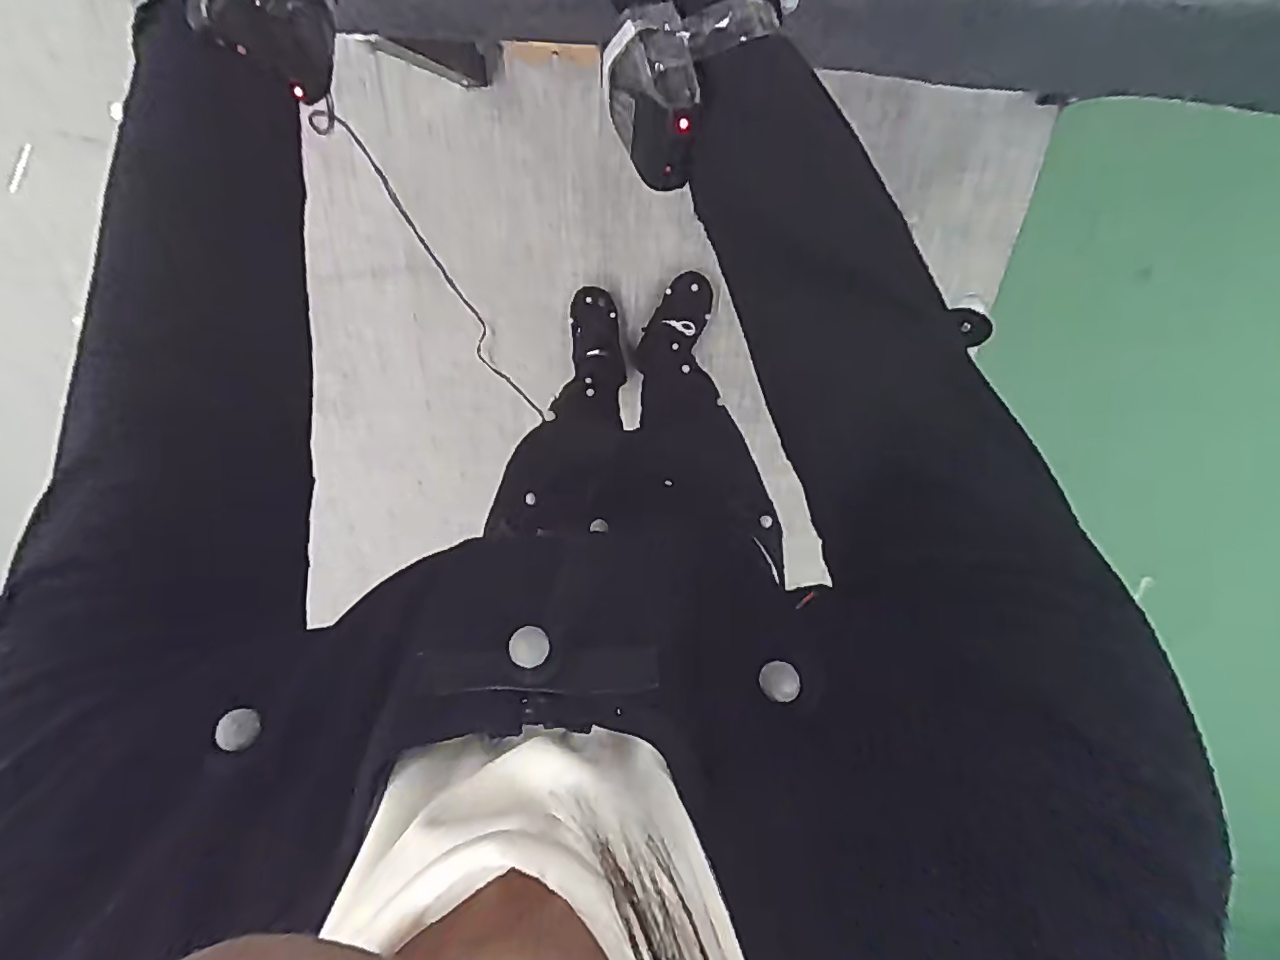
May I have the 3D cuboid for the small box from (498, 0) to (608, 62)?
[{"bbox_3d":[-0.148,-0.862,0.955,0.168,0.176,0.179,5,119,3],"label":"small box"}]
